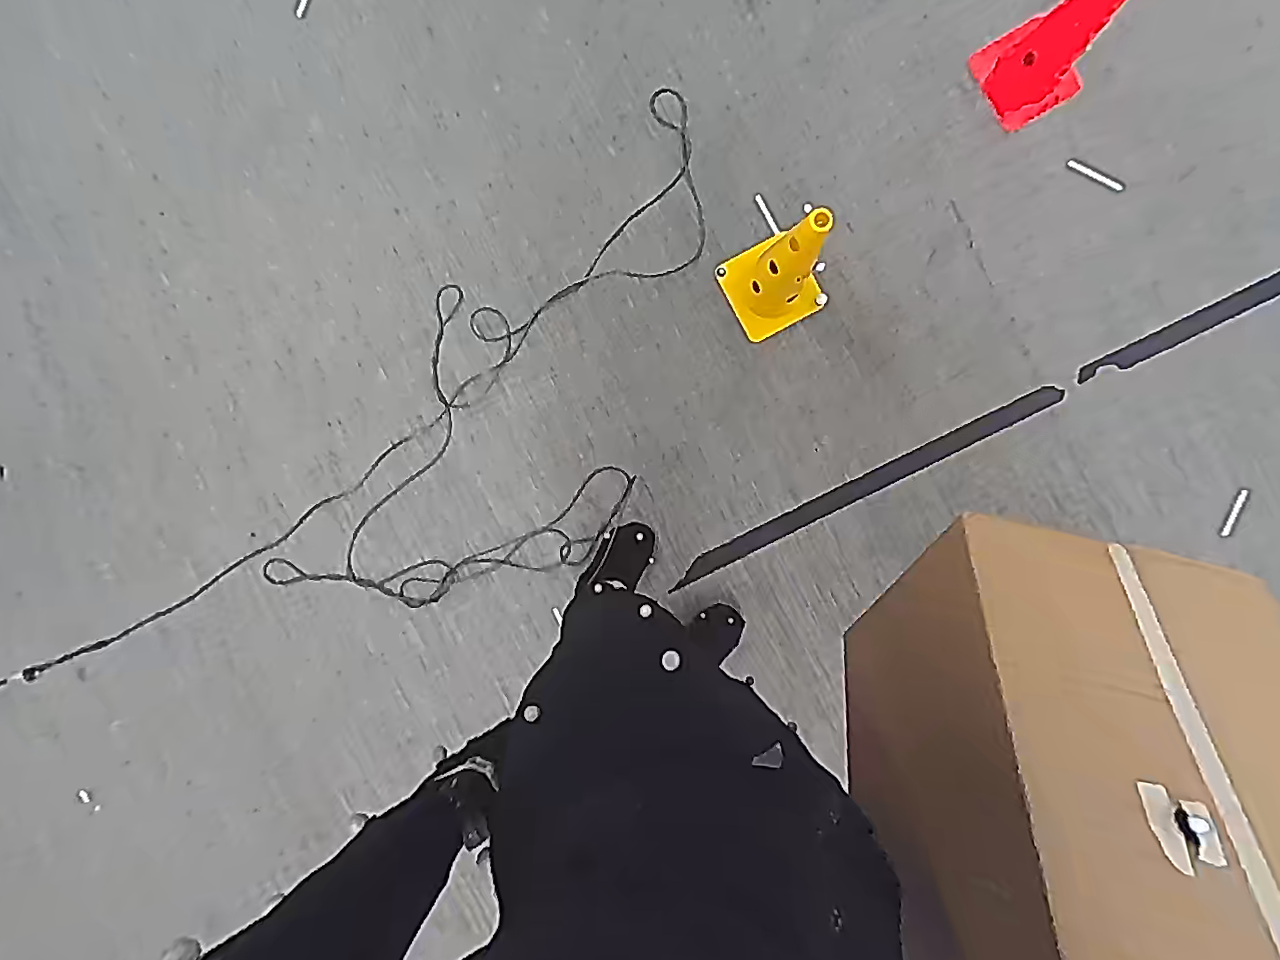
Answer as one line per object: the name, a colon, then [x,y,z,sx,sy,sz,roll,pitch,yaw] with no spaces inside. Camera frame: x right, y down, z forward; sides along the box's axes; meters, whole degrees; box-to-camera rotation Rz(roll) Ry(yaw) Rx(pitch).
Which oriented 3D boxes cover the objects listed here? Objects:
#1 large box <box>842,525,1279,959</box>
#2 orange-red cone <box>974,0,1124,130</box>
large box: [0.424,0.319,0.557,0.320,0.320,0.408,13,51,3]
orange-red cone: [0.879,-0.914,1.061,0.199,0.360,0.198,-29,91,3]
